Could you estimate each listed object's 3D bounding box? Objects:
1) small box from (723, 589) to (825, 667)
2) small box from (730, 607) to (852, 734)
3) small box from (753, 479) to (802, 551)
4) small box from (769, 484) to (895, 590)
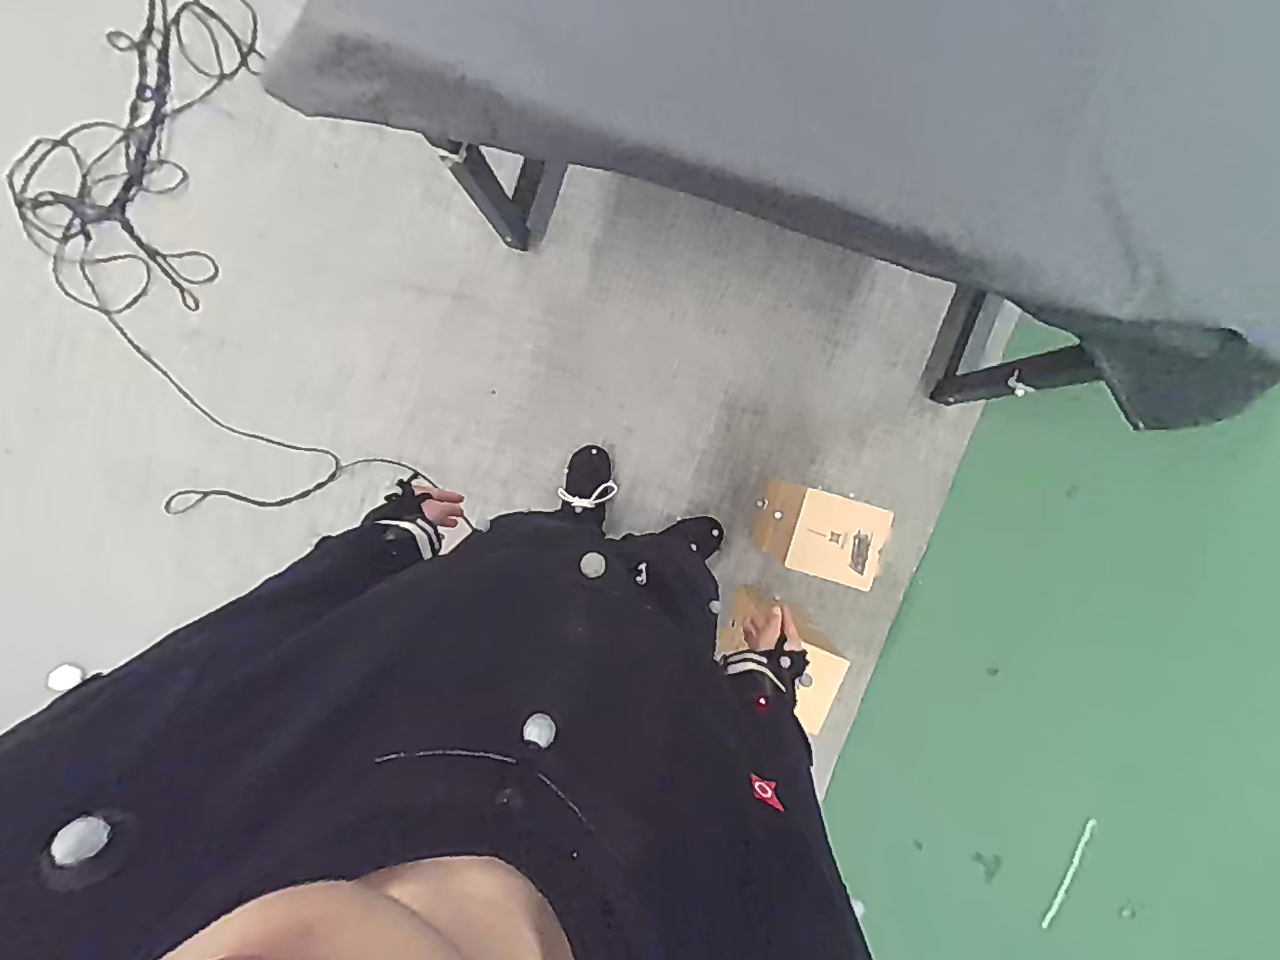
[{"bbox_3d":[0.311,0.376,1.299,0.179,0.176,0.168,21,95,2],"label":"small box"},{"bbox_3d":[0.306,0.388,1.137,0.179,0.176,0.168,22,94,0],"label":"small box"},{"bbox_3d":[0.385,0.098,1.282,0.179,0.176,0.168,18,93,1],"label":"small box"},{"bbox_3d":[0.386,0.109,1.118,0.179,0.176,0.168,16,93,1],"label":"small box"}]
